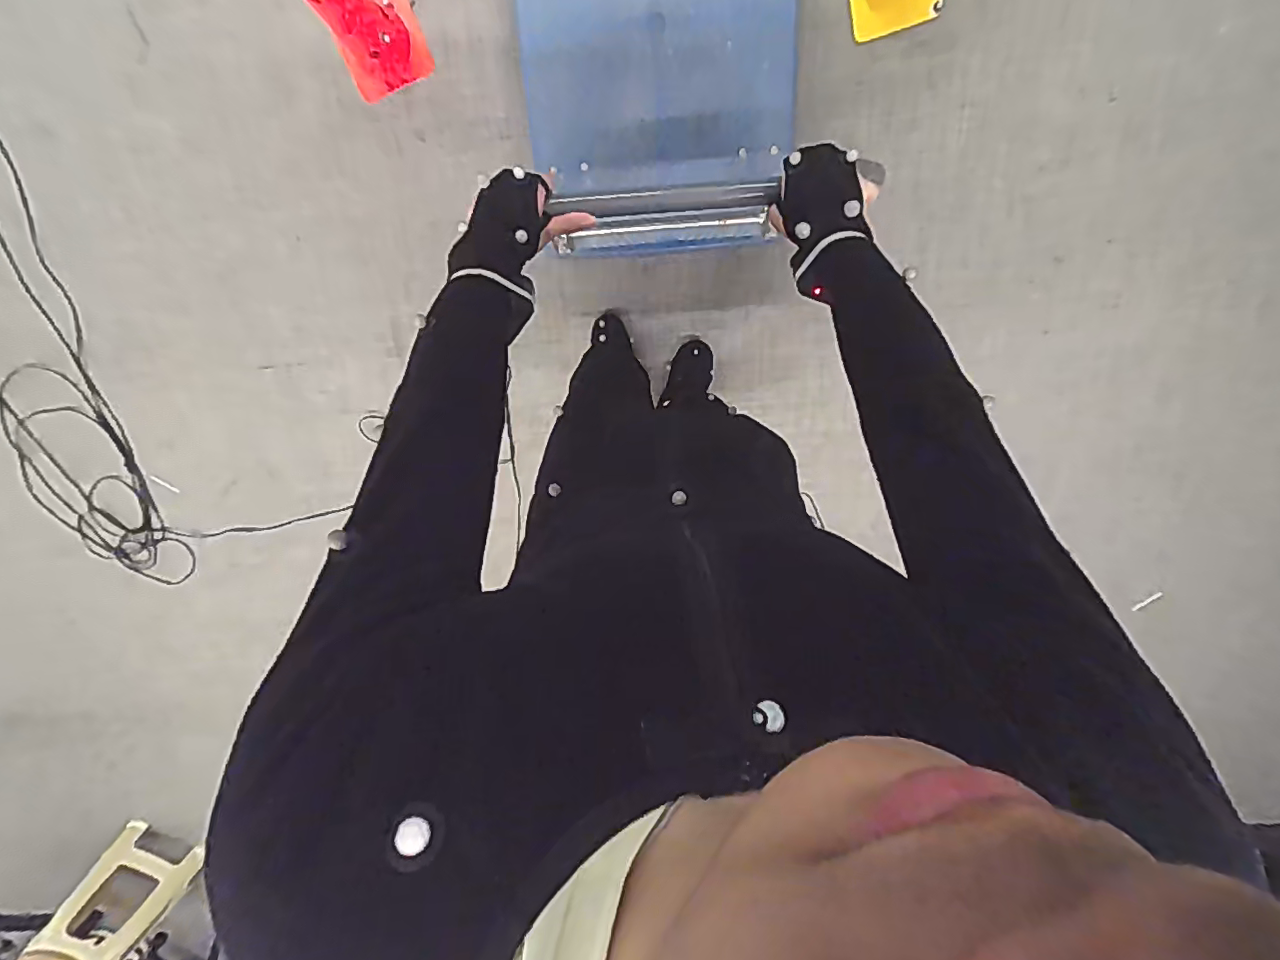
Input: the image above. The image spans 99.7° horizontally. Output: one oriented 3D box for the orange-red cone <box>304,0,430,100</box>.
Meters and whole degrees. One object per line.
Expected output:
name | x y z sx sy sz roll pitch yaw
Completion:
orange-red cone | -0.626 -0.977 1.121 0.199 0.360 0.198 -17 108 10
